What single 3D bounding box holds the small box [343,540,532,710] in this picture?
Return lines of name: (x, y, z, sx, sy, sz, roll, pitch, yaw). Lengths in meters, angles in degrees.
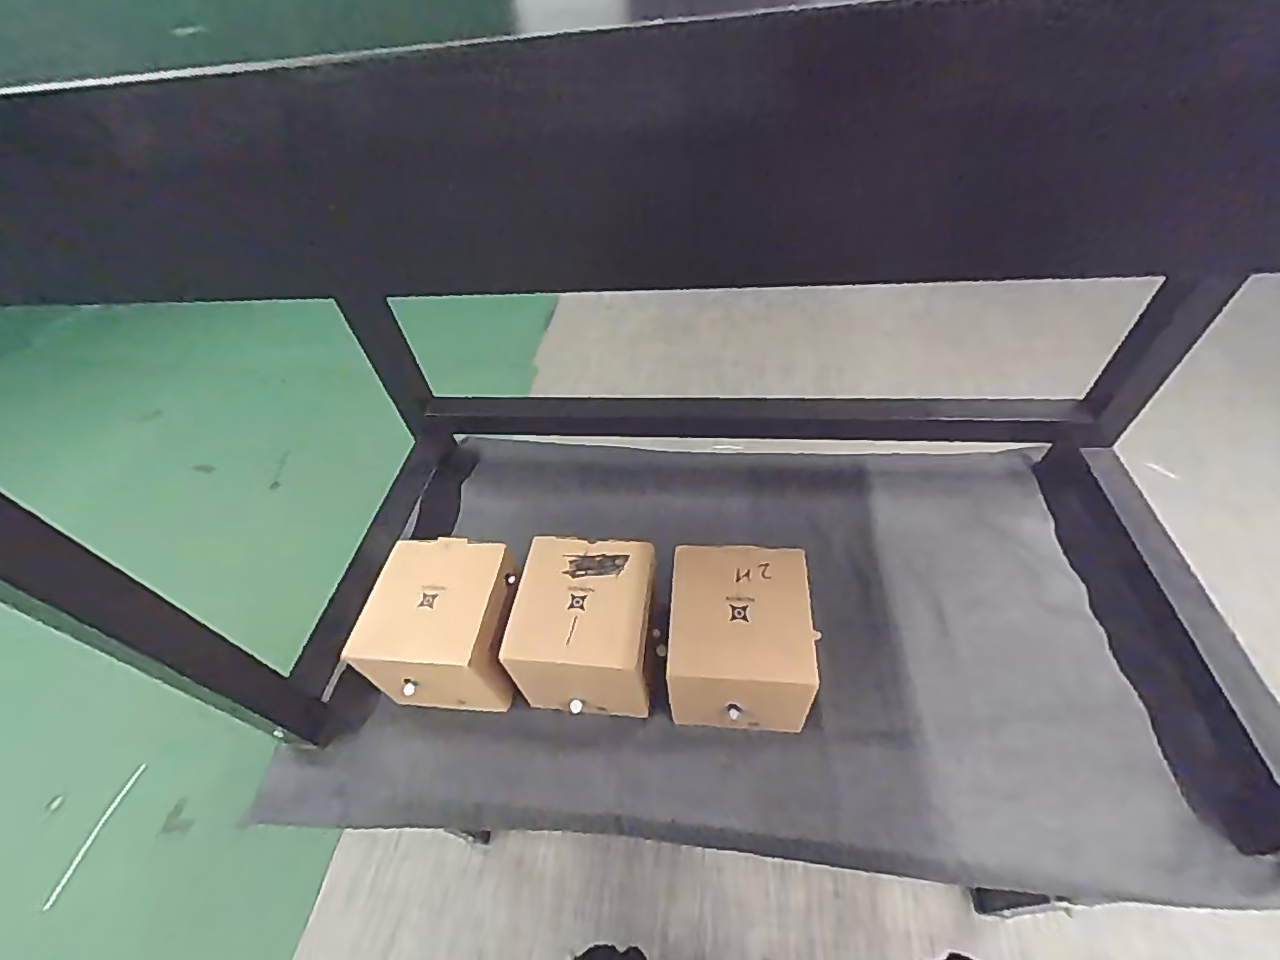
small box: (-0.262, 0.203, 0.752, 0.168, 0.176, 0.179, 1, 48, 8)
